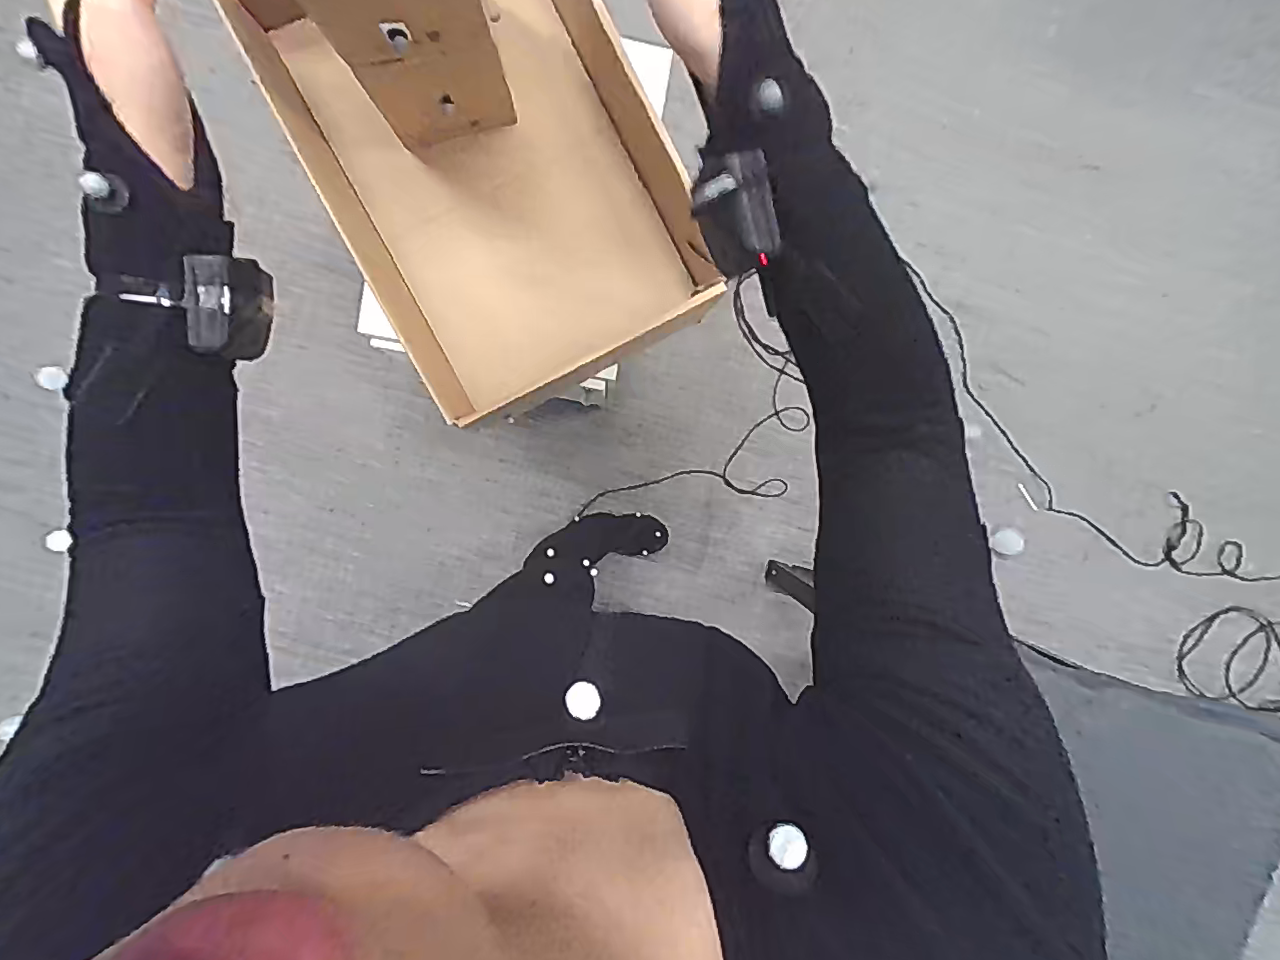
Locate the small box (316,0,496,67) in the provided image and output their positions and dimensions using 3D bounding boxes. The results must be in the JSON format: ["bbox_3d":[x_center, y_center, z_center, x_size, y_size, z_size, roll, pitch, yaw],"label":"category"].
[{"bbox_3d":[-0.250,-0.550,0.516,0.168,0.176,0.179,-12,96,0],"label":"small box"}]
